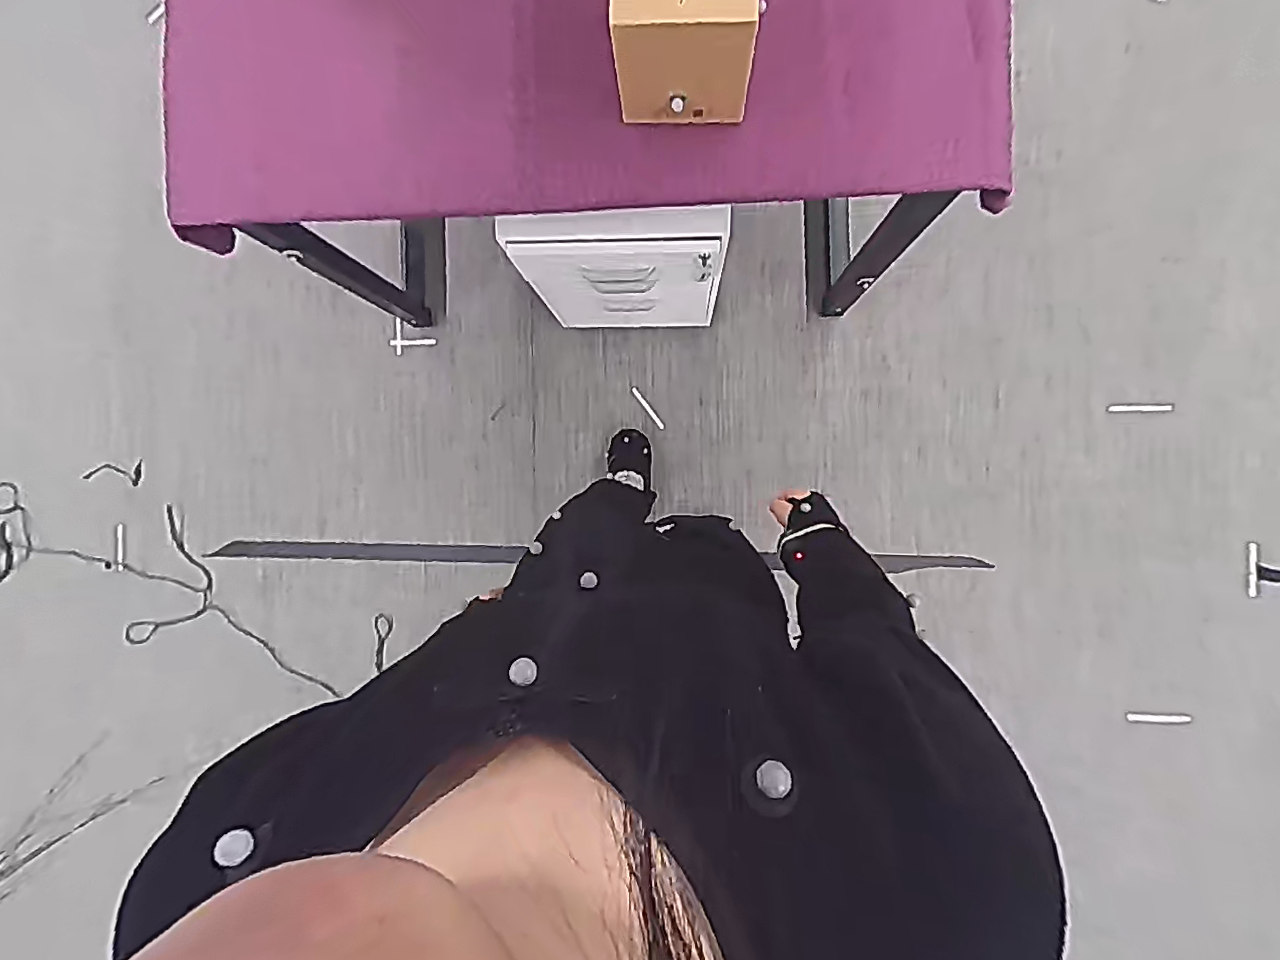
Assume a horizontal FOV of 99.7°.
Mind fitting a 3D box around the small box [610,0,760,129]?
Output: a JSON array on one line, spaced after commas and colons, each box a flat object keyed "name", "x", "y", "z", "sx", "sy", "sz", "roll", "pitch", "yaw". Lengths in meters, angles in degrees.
[{"name": "small box", "x": 0.058, "y": -0.579, "z": 0.671, "sx": 0.168, "sy": 0.176, "sz": 0.179, "roll": 3, "pitch": 90, "yaw": 5}]
